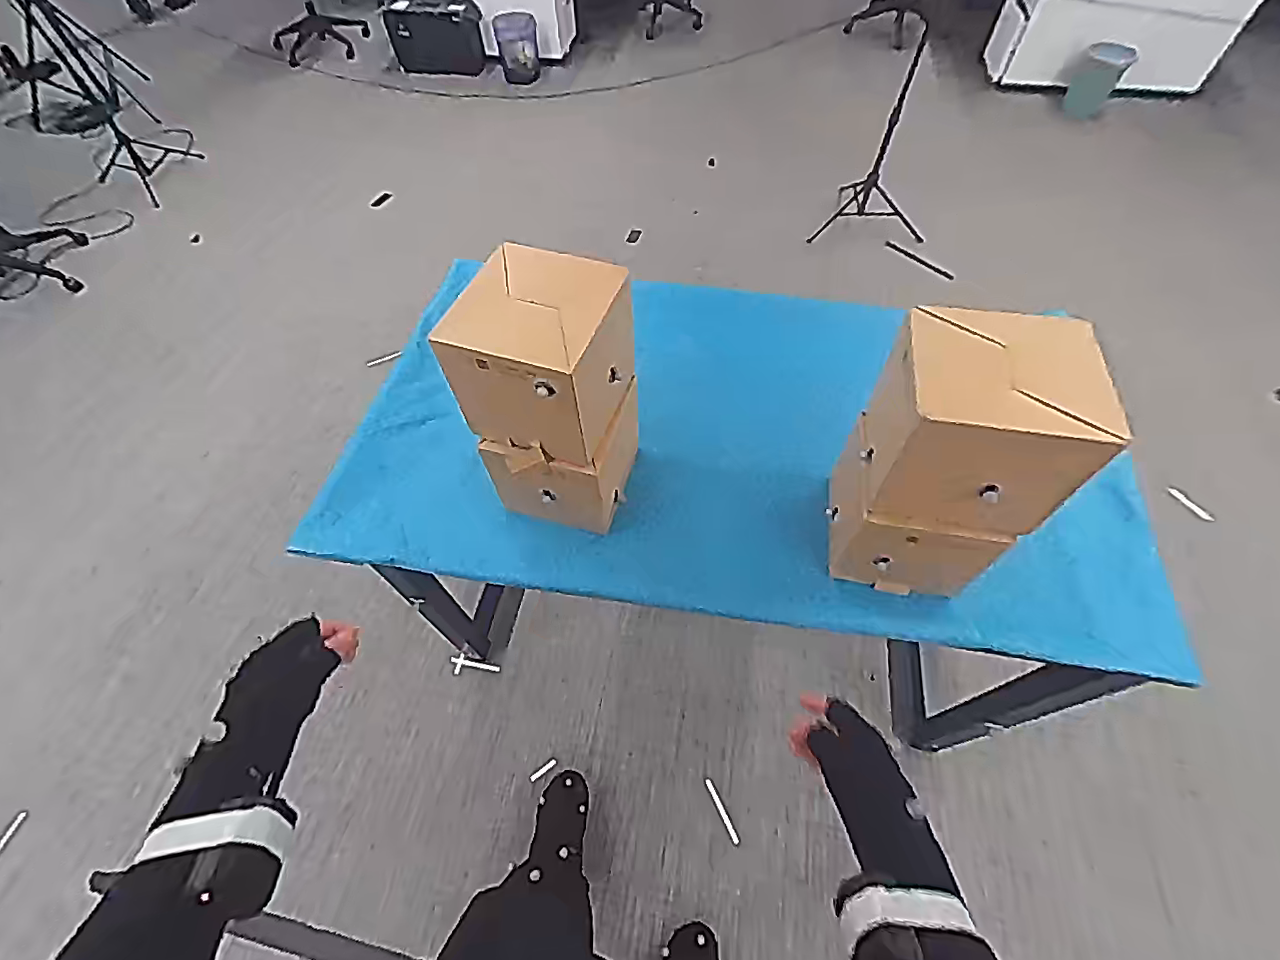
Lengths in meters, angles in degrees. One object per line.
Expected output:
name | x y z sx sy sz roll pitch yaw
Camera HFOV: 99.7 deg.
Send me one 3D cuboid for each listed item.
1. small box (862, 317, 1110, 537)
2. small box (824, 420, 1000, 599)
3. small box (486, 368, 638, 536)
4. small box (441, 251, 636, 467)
small box | 0.358 -0.058 0.595 0.179 0.176 0.168 8 55 10
small box | 0.354 0.037 0.729 0.168 0.176 0.179 8 56 7
small box | -0.104 -0.046 0.792 0.168 0.176 0.179 13 58 9
small box | -0.112 -0.147 0.661 0.168 0.176 0.179 16 60 11
